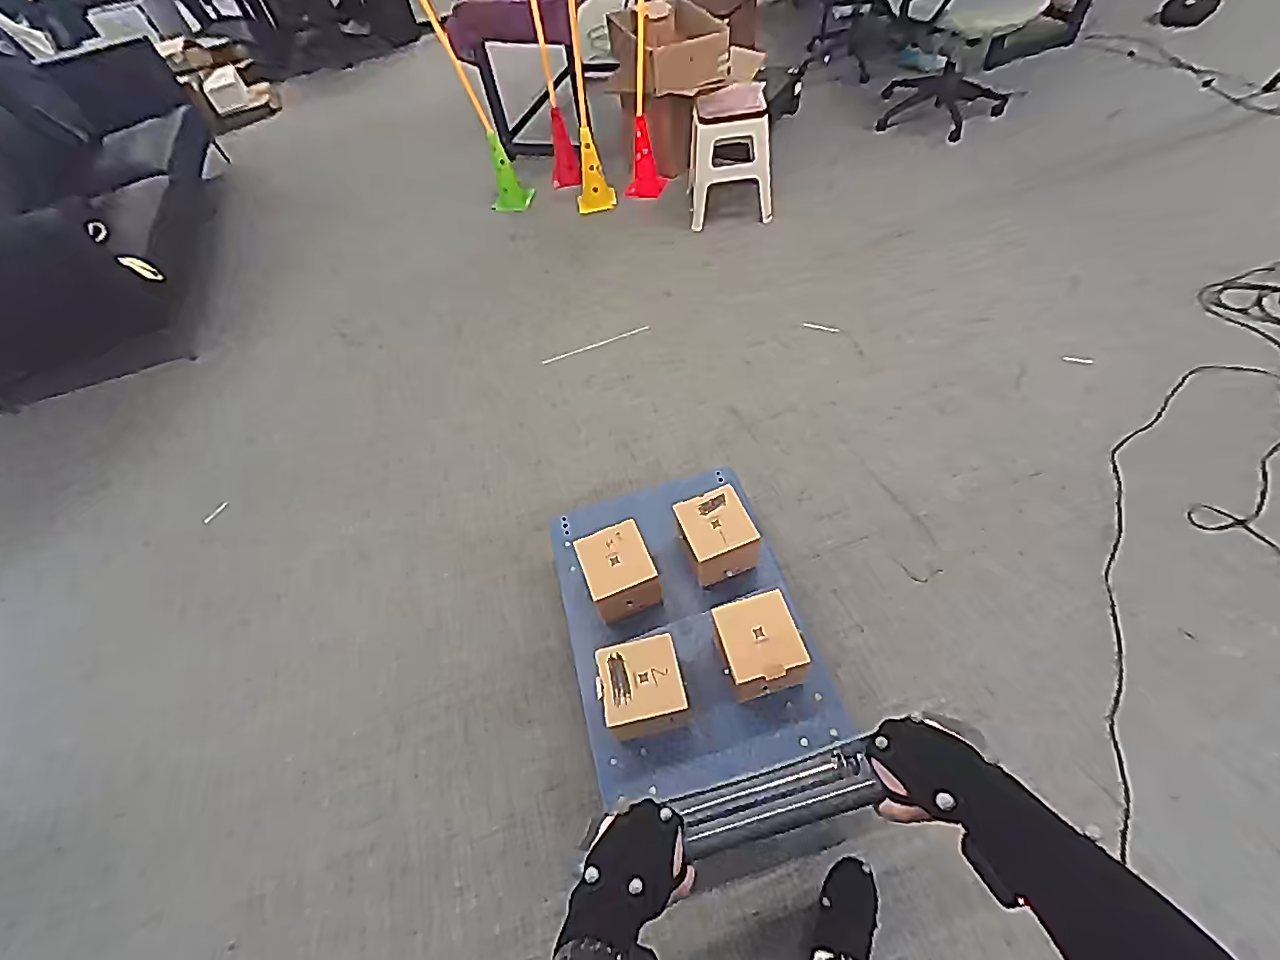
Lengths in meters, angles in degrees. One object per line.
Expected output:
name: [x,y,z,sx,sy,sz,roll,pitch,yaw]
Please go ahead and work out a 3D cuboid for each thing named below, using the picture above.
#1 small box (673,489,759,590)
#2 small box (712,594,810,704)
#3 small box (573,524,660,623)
small box: [0.195,0.158,1.412,0.168,0.176,0.179,-21,56,-6]
small box: [0.268,0.391,1.245,0.168,0.176,0.179,-16,56,-3]
small box: [-0.055,0.247,1.386,0.168,0.176,0.179,-21,55,-7]
